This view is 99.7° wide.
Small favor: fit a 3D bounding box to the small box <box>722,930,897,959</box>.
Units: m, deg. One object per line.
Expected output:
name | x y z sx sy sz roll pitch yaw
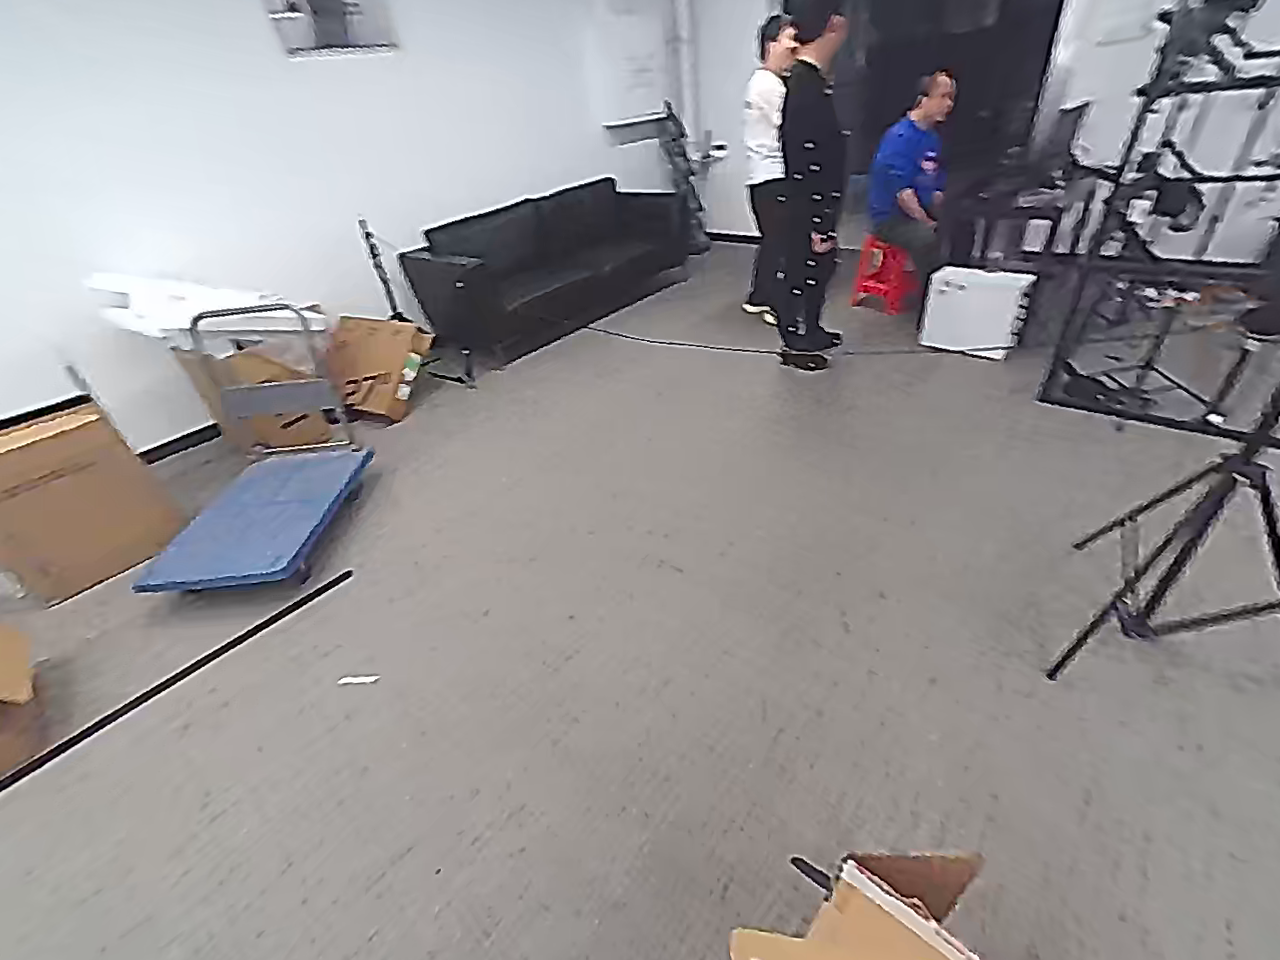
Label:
small box | 0.167 0.586 0.519 0.179 0.176 0.168 0 24 12
